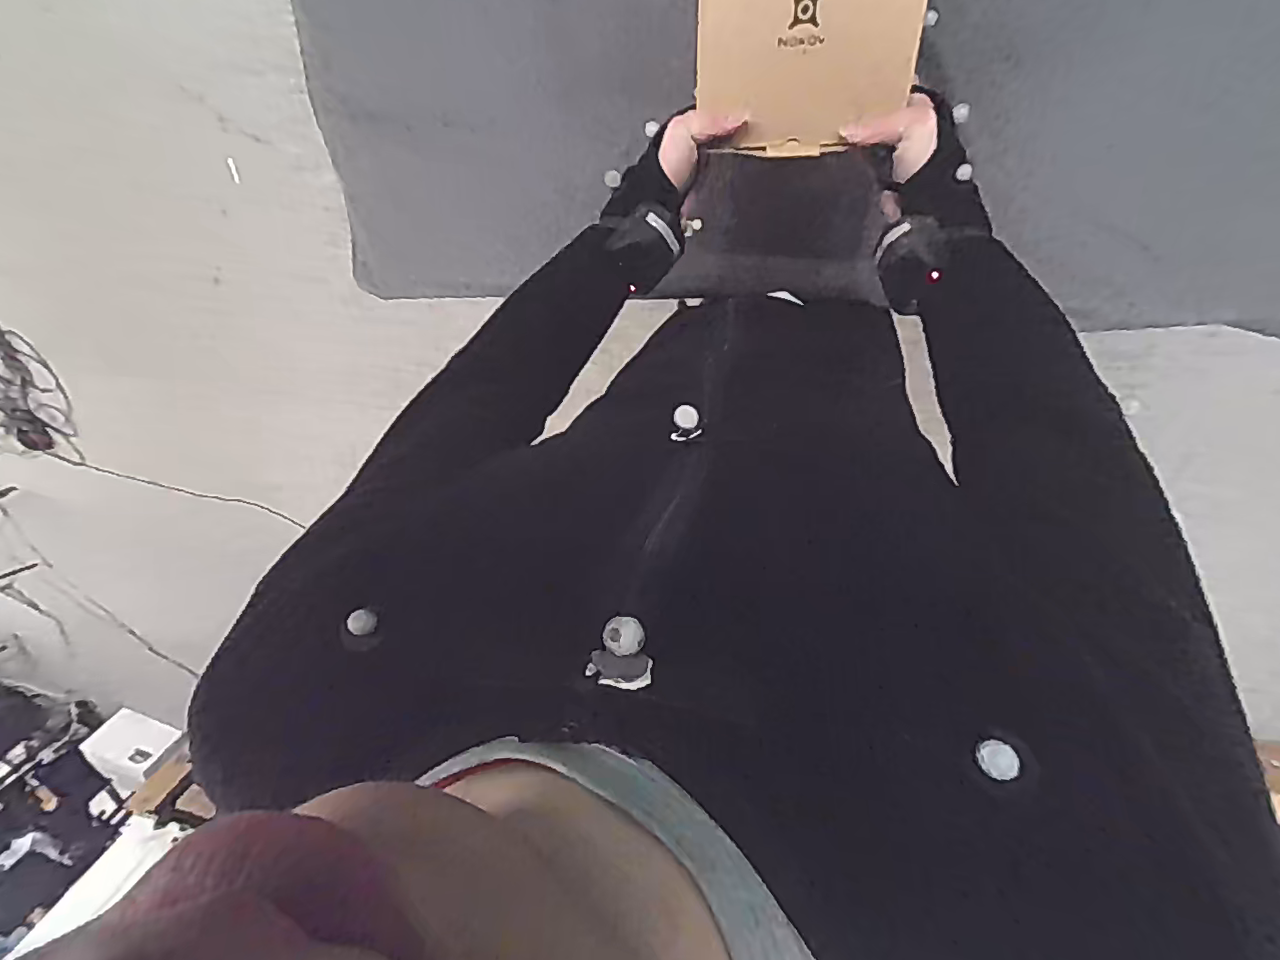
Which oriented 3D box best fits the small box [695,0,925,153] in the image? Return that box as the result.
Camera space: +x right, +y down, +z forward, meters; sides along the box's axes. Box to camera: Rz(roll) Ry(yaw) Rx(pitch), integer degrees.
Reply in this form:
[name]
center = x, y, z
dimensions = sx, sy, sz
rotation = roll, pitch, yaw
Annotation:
[small box]
center = 0.144, -0.395, 0.473
dimensions = 0.168, 0.176, 0.179
rotation = 6, 124, 9
